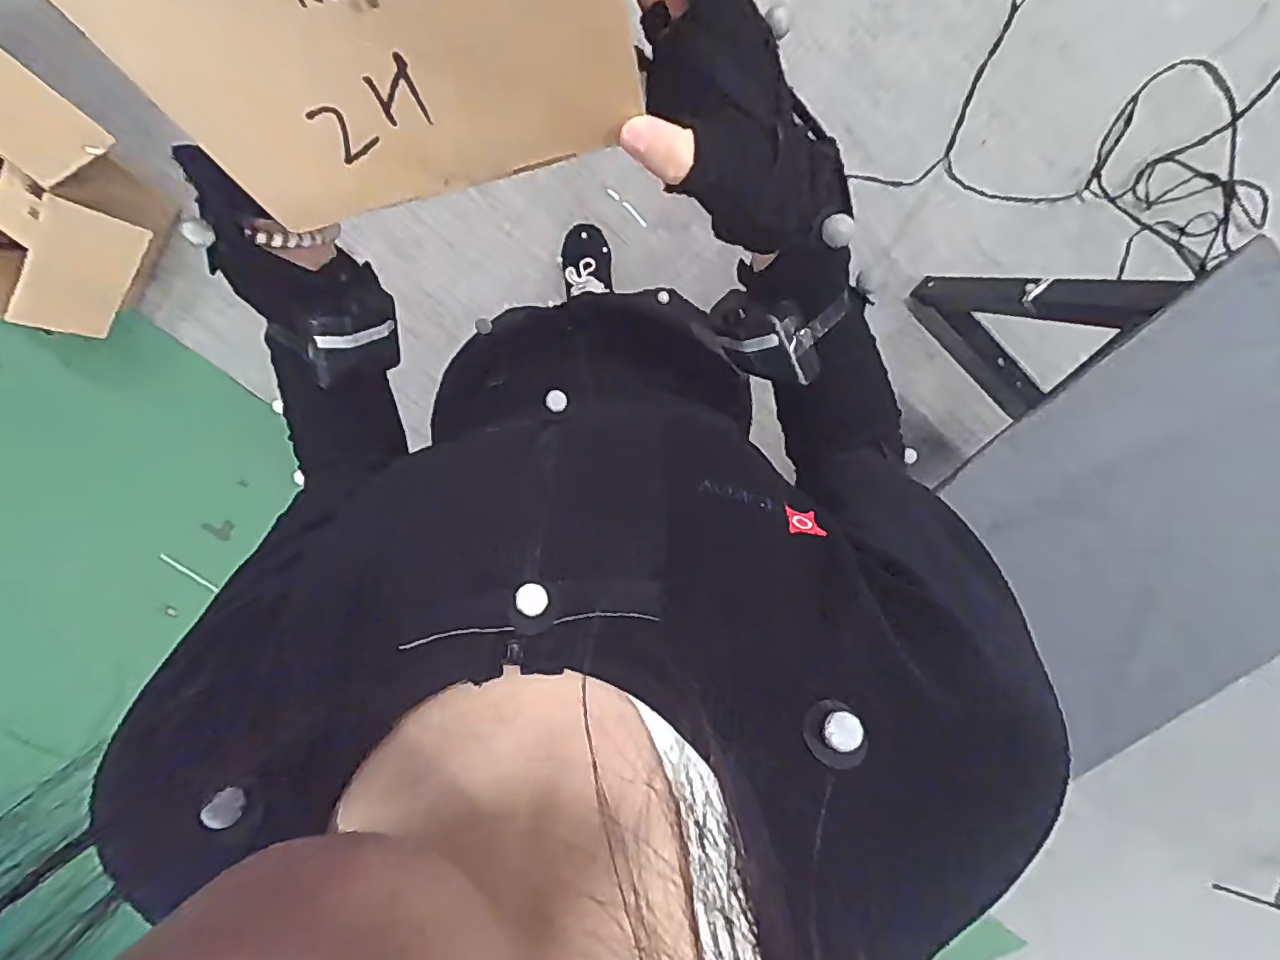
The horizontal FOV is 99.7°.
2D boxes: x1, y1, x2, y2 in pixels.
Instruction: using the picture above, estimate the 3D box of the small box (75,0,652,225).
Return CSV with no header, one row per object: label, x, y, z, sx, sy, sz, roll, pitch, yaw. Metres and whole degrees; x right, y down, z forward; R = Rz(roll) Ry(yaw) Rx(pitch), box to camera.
small box,-0.099,-0.232,0.182,0.168,0.179,0.176,-12,68,5
